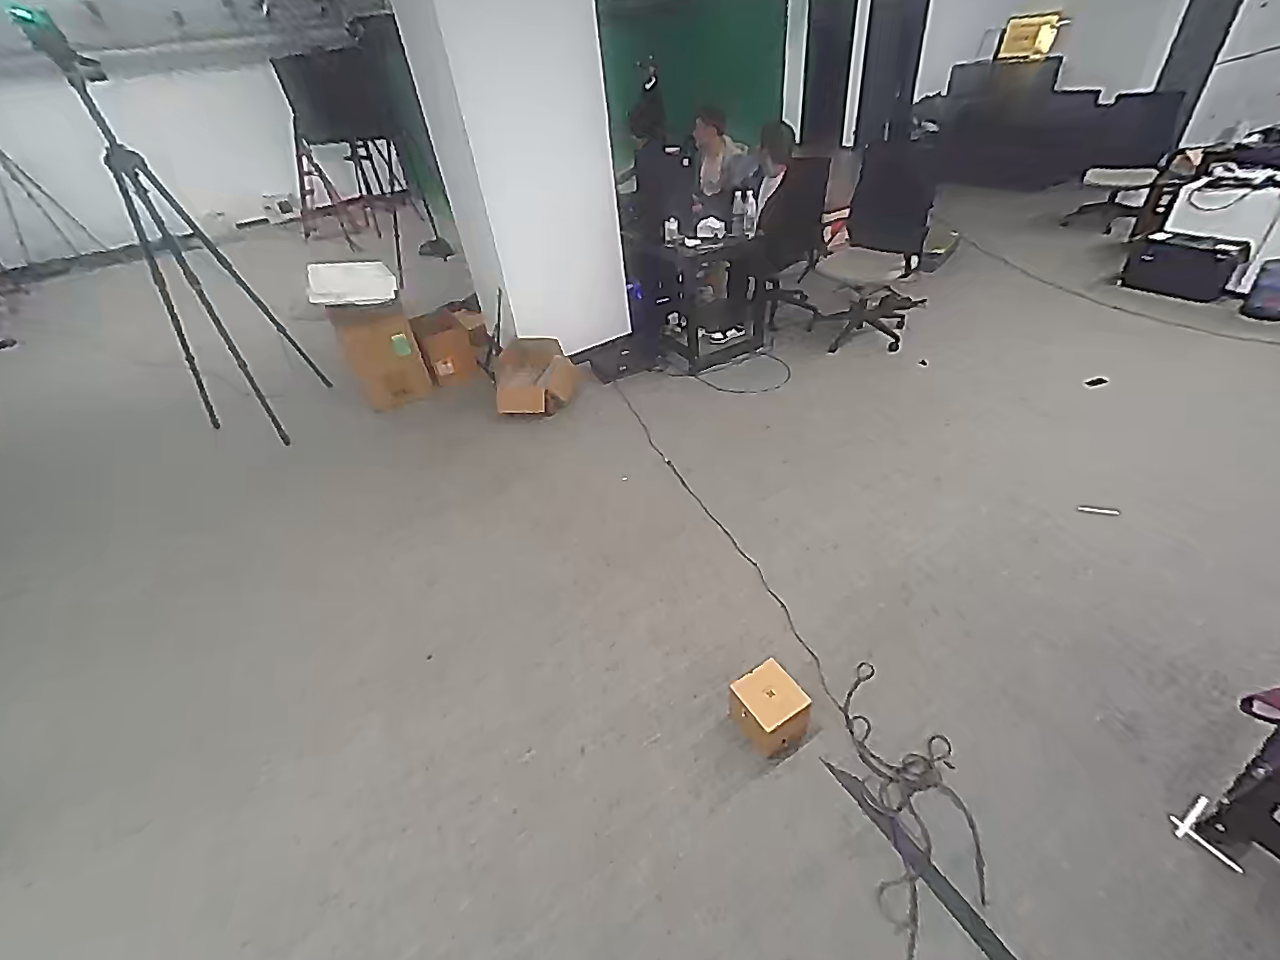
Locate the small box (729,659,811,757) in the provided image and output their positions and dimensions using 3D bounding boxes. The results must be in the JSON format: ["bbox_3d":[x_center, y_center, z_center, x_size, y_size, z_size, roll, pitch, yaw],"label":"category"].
[{"bbox_3d":[0.379,0.678,1.606,0.168,0.176,0.179,-24,41,-19],"label":"small box"}]
